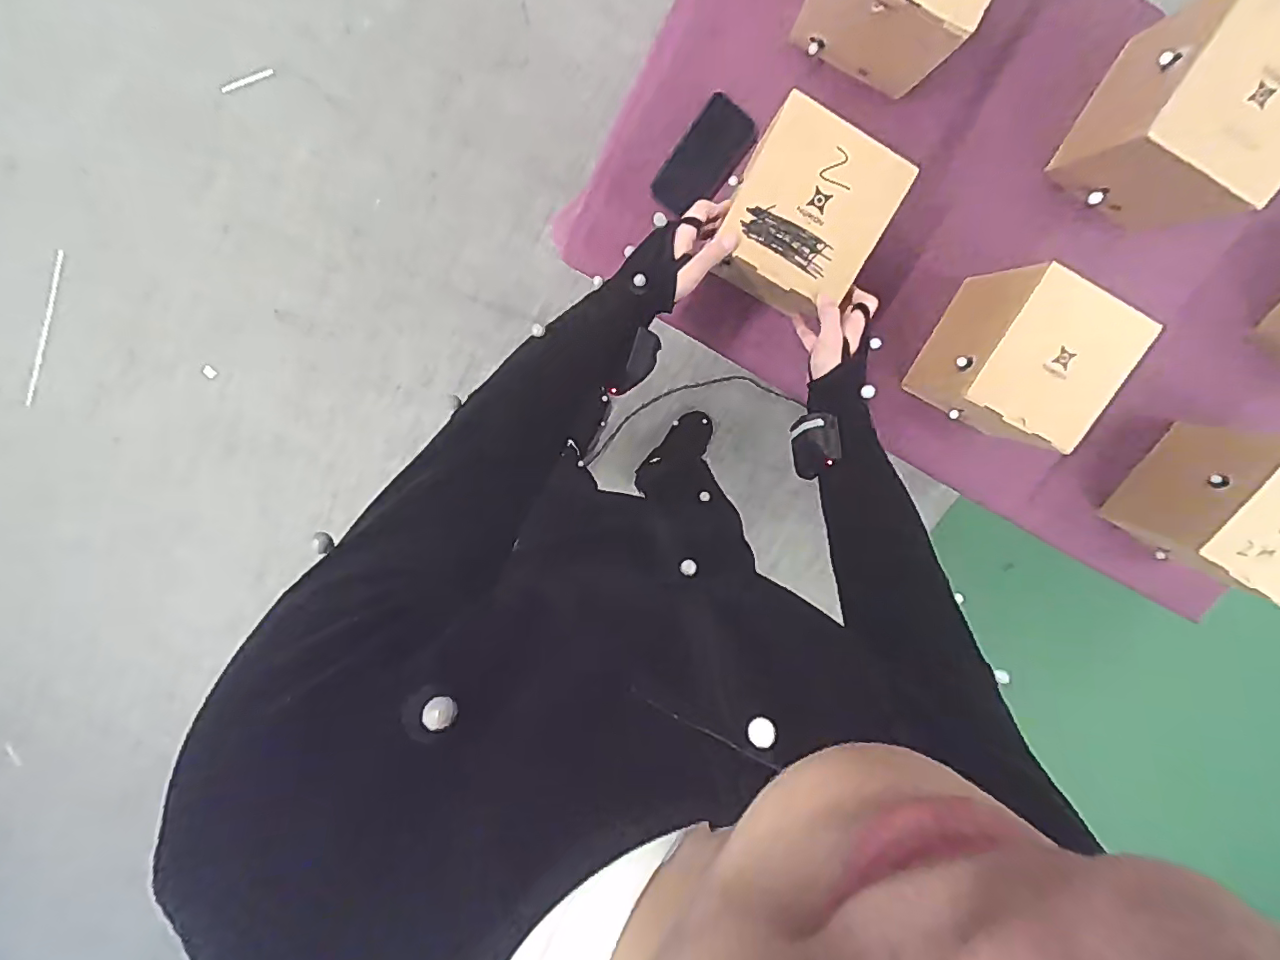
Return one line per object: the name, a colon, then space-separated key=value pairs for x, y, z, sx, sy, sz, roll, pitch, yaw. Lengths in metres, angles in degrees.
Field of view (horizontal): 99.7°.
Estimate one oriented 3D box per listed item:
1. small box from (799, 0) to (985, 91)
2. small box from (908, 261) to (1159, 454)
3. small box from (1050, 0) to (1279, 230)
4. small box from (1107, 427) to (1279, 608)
small box: x=0.298 y=-0.583 z=0.599 sx=0.168 sy=0.176 sz=0.179 roll=24 pitch=104 yaw=-7
small box: x=0.499 y=-0.162 z=0.718 sx=0.168 sy=0.176 sz=0.179 roll=26 pitch=104 yaw=-7
small box: x=0.652 y=-0.430 z=0.643 sx=0.168 sy=0.176 sz=0.179 roll=27 pitch=105 yaw=-6
small box: x=0.840 y=0.043 z=0.770 sx=0.168 sy=0.176 sz=0.179 roll=30 pitch=104 yaw=-7
